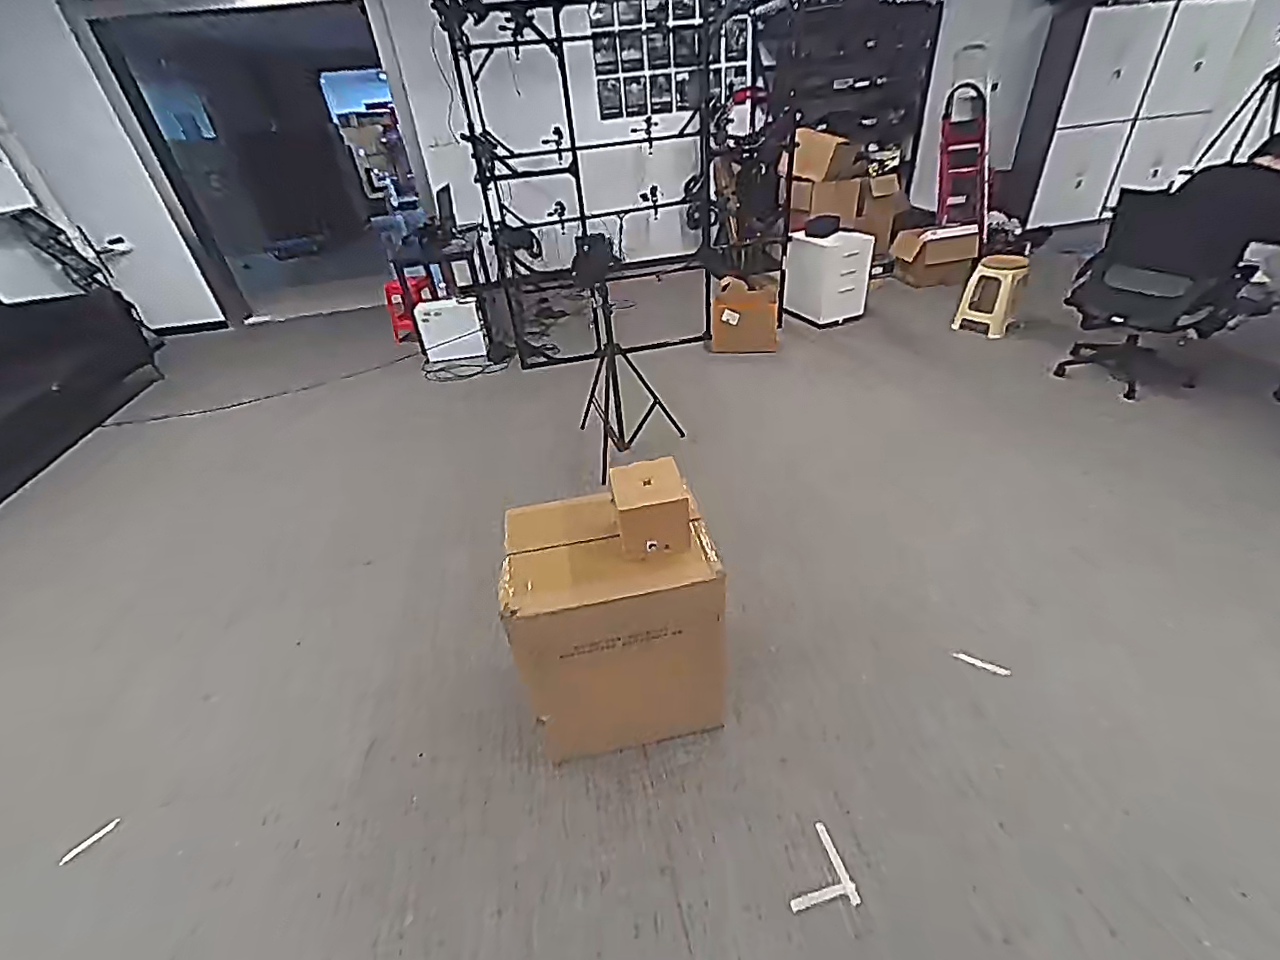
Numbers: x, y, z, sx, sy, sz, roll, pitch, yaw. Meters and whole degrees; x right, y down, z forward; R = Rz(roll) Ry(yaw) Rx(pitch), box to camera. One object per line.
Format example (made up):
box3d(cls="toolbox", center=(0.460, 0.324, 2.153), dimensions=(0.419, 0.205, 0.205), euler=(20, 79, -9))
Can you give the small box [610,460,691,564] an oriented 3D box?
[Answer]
box3d(cls="small box", center=(0.025, 0.077, 1.328), dimensions=(0.168, 0.176, 0.179), euler=(-11, 37, -5))
